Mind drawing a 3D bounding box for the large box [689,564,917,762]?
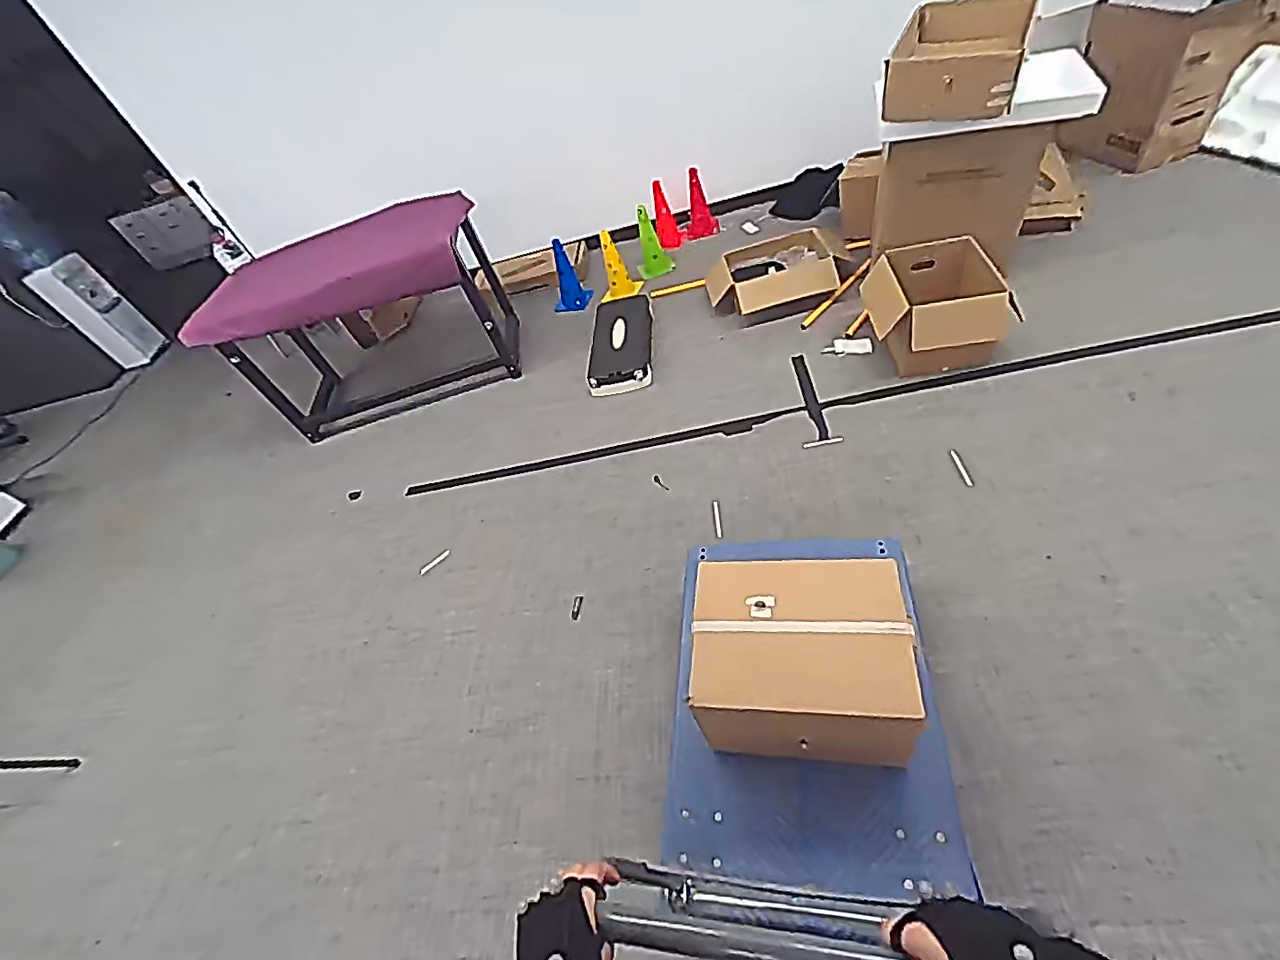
[{"bbox_3d":[0.341,0.402,1.172,0.408,0.320,0.320,-5,48,17],"label":"large box"}]
